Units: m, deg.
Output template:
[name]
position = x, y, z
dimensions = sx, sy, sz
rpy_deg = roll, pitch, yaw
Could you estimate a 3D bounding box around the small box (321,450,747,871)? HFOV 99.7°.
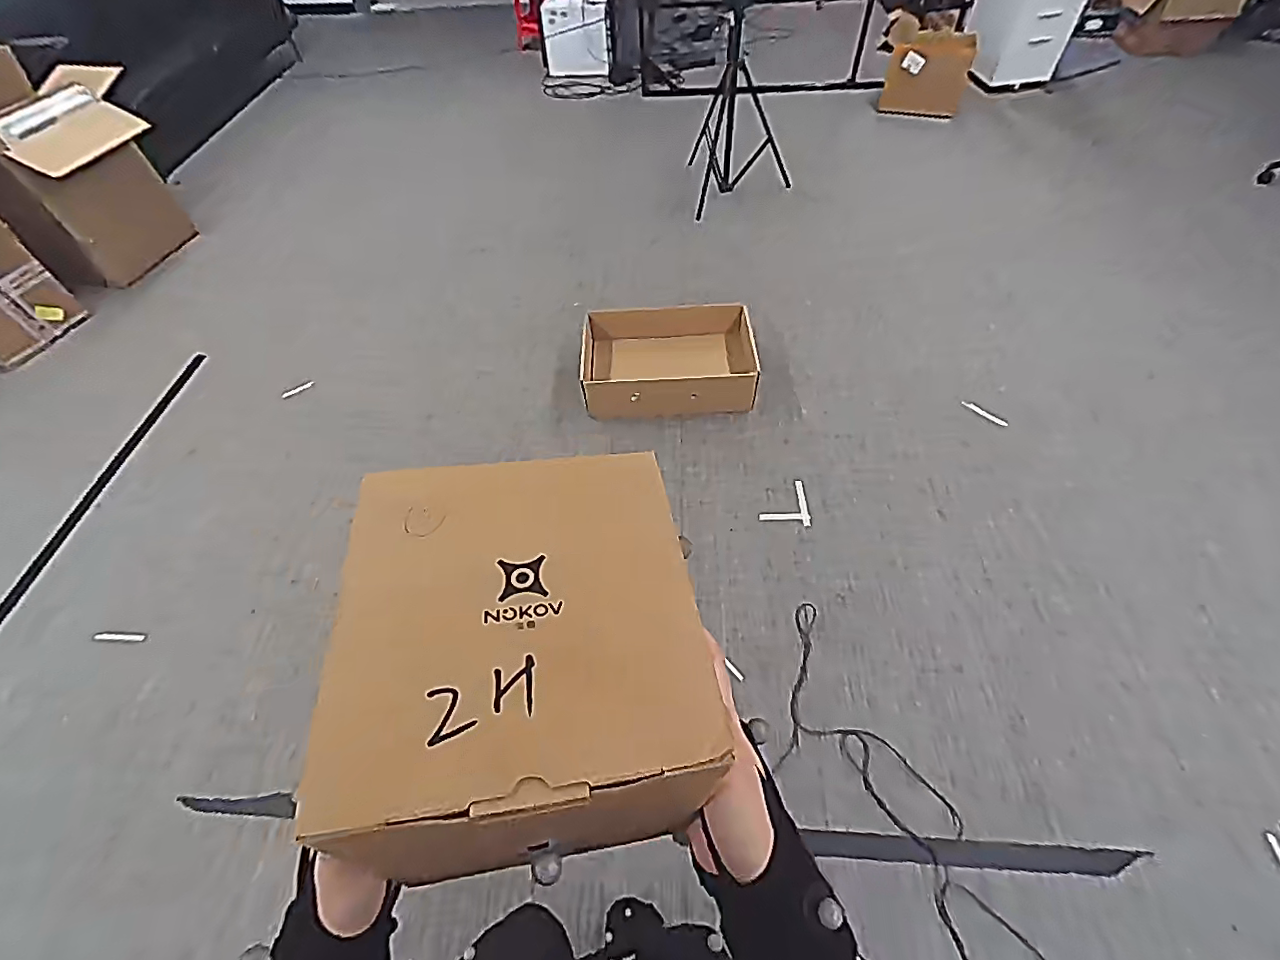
[small box]
position = -0.056, 0.104, 0.321
dimensions = 0.168, 0.176, 0.179
rpy_deg = -5, 50, -10
